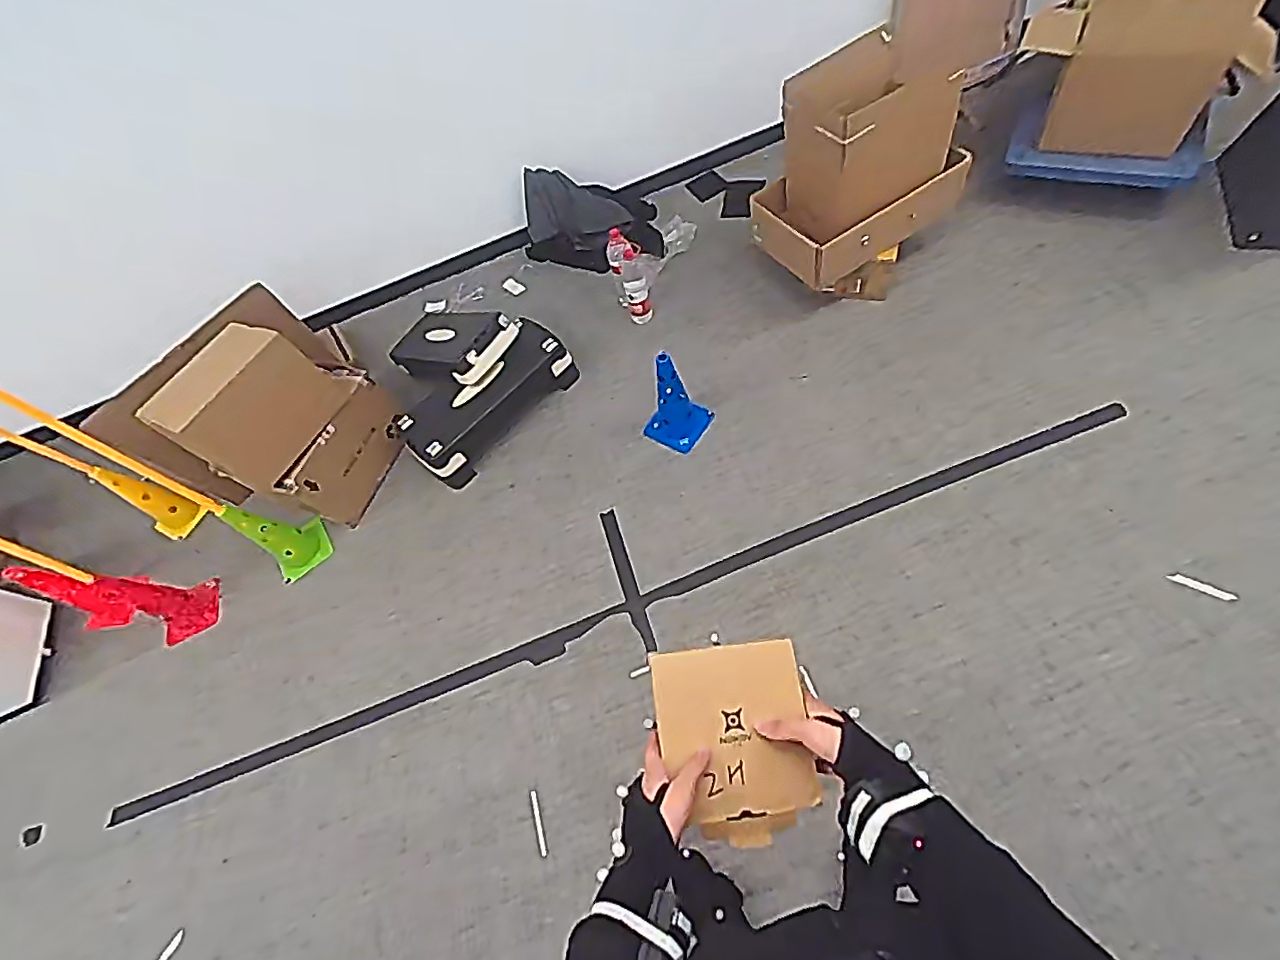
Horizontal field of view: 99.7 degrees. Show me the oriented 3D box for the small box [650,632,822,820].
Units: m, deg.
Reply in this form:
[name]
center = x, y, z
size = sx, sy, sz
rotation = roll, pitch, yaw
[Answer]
[small box]
center = 0.102, 0.287, 0.663
size = 0.168, 0.176, 0.179
rotation = -6, 74, -2
